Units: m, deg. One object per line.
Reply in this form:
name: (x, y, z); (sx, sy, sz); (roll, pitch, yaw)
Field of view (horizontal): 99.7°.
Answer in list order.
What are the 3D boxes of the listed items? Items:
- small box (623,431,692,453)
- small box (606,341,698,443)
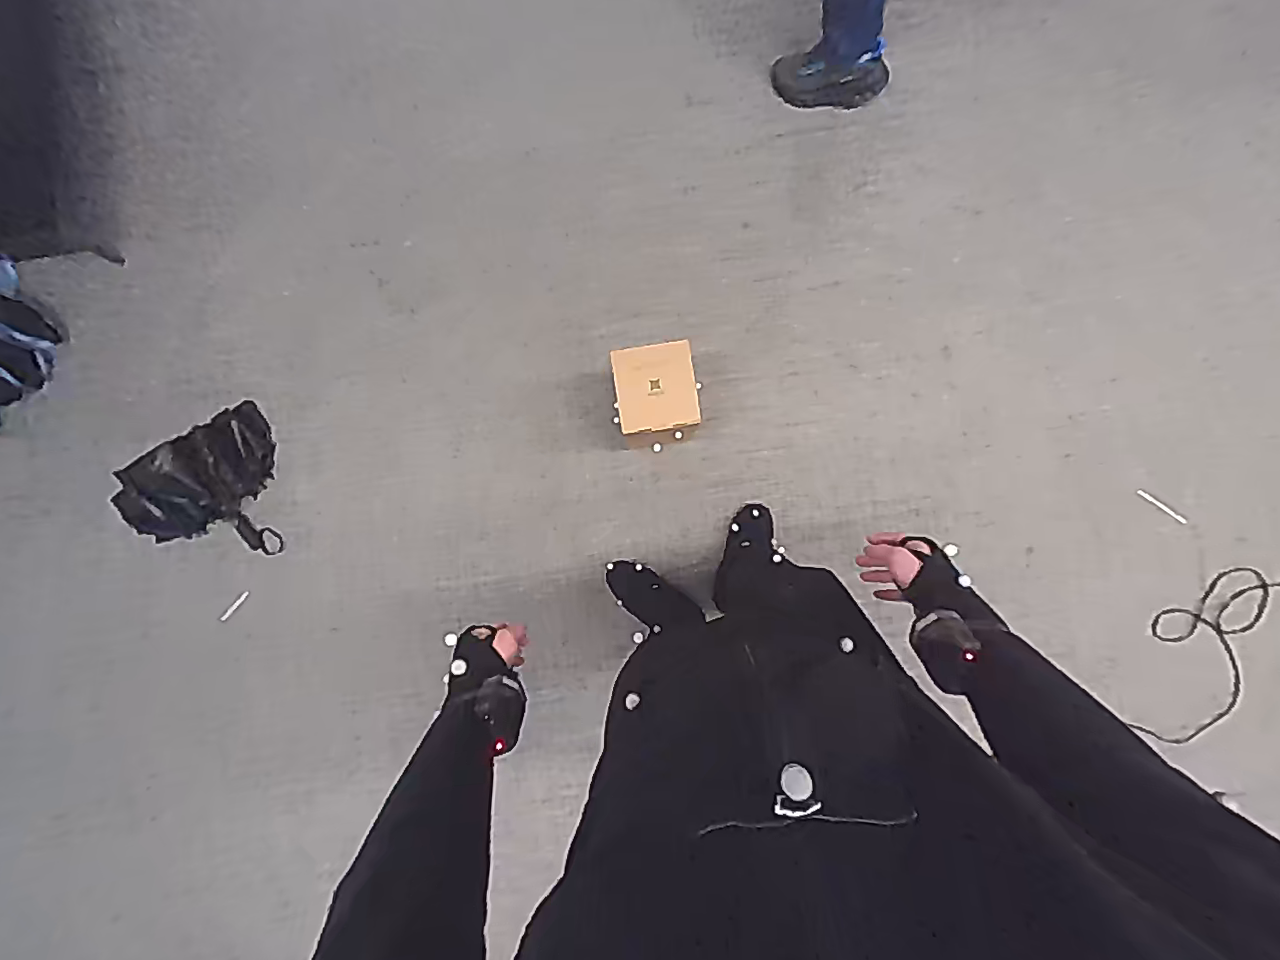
small box: (0.030, -0.172, 1.334); (0.168, 0.176, 0.179); (-9, 87, 1)
small box: (0.027, -0.180, 1.172); (0.168, 0.176, 0.179); (-11, 86, 0)
